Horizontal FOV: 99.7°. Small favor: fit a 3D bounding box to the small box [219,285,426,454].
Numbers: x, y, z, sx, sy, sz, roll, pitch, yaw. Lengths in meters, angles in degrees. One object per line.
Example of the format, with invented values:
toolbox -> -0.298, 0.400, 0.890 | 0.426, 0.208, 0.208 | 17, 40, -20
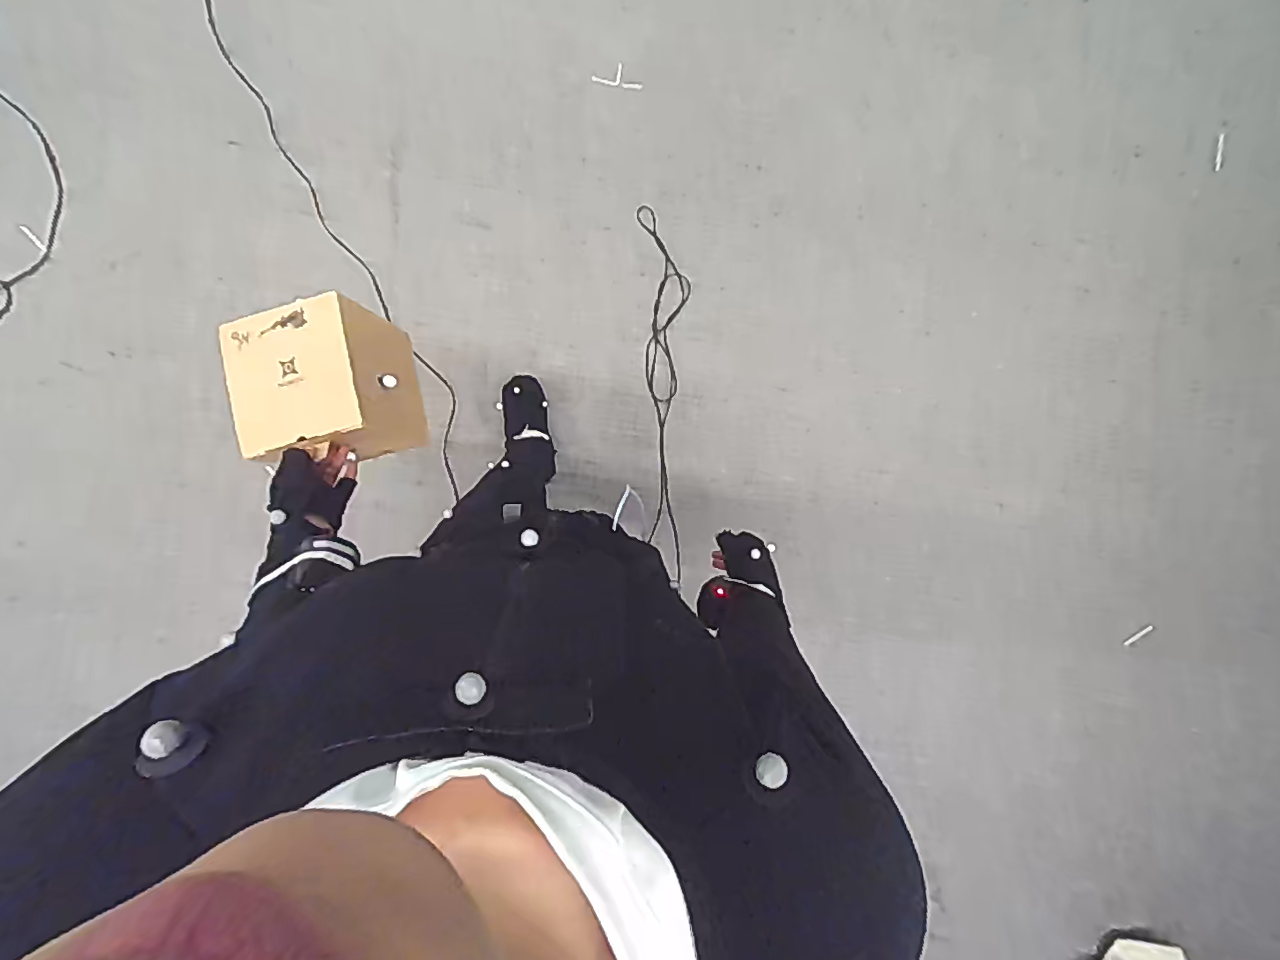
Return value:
small box -> -0.418, -0.136, 0.741 | 0.168, 0.176, 0.179 | -14, 87, 6
